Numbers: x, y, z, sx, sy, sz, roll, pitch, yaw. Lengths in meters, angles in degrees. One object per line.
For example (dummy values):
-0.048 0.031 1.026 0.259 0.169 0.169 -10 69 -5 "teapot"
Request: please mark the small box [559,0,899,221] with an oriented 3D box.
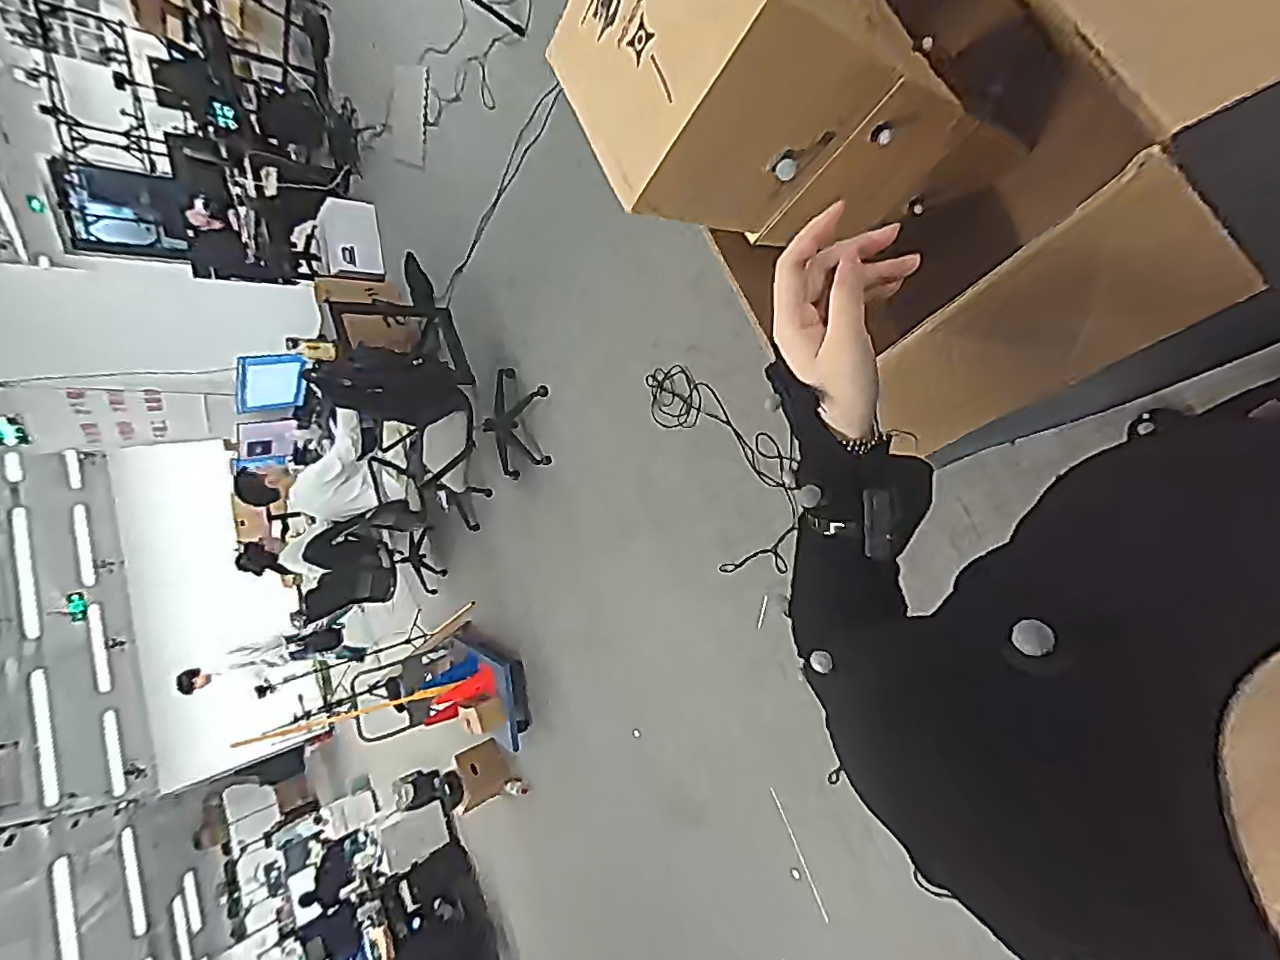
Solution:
0.067 -0.337 0.438 0.168 0.176 0.179 -38 73 50 "small box"
